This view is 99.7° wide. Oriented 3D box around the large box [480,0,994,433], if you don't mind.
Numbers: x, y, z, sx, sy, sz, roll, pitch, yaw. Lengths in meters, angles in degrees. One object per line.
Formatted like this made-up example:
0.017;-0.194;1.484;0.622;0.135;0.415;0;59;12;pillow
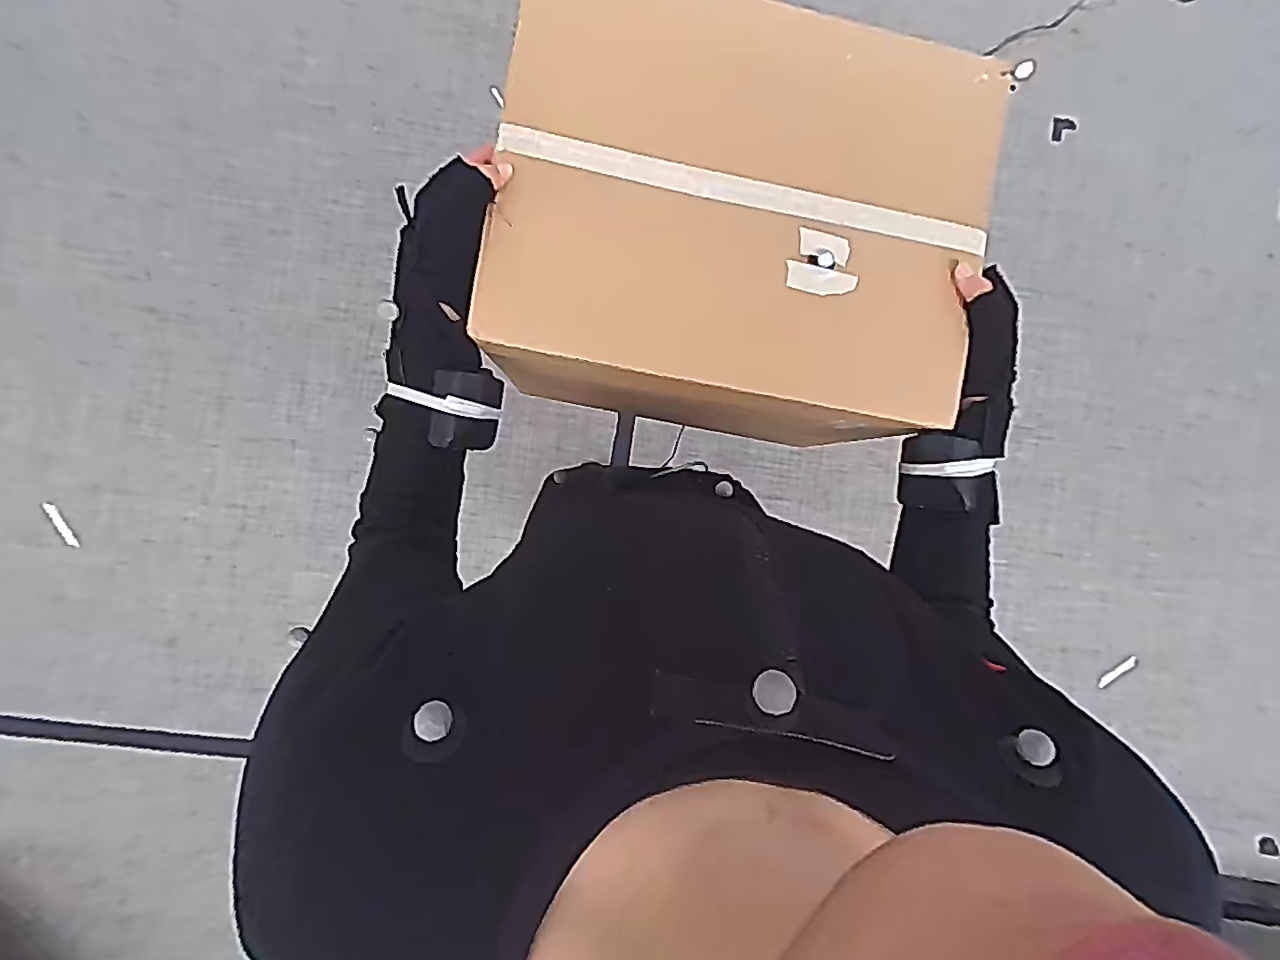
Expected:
0.073;-0.242;0.595;0.408;0.320;0.320;10;91;-6;large box
